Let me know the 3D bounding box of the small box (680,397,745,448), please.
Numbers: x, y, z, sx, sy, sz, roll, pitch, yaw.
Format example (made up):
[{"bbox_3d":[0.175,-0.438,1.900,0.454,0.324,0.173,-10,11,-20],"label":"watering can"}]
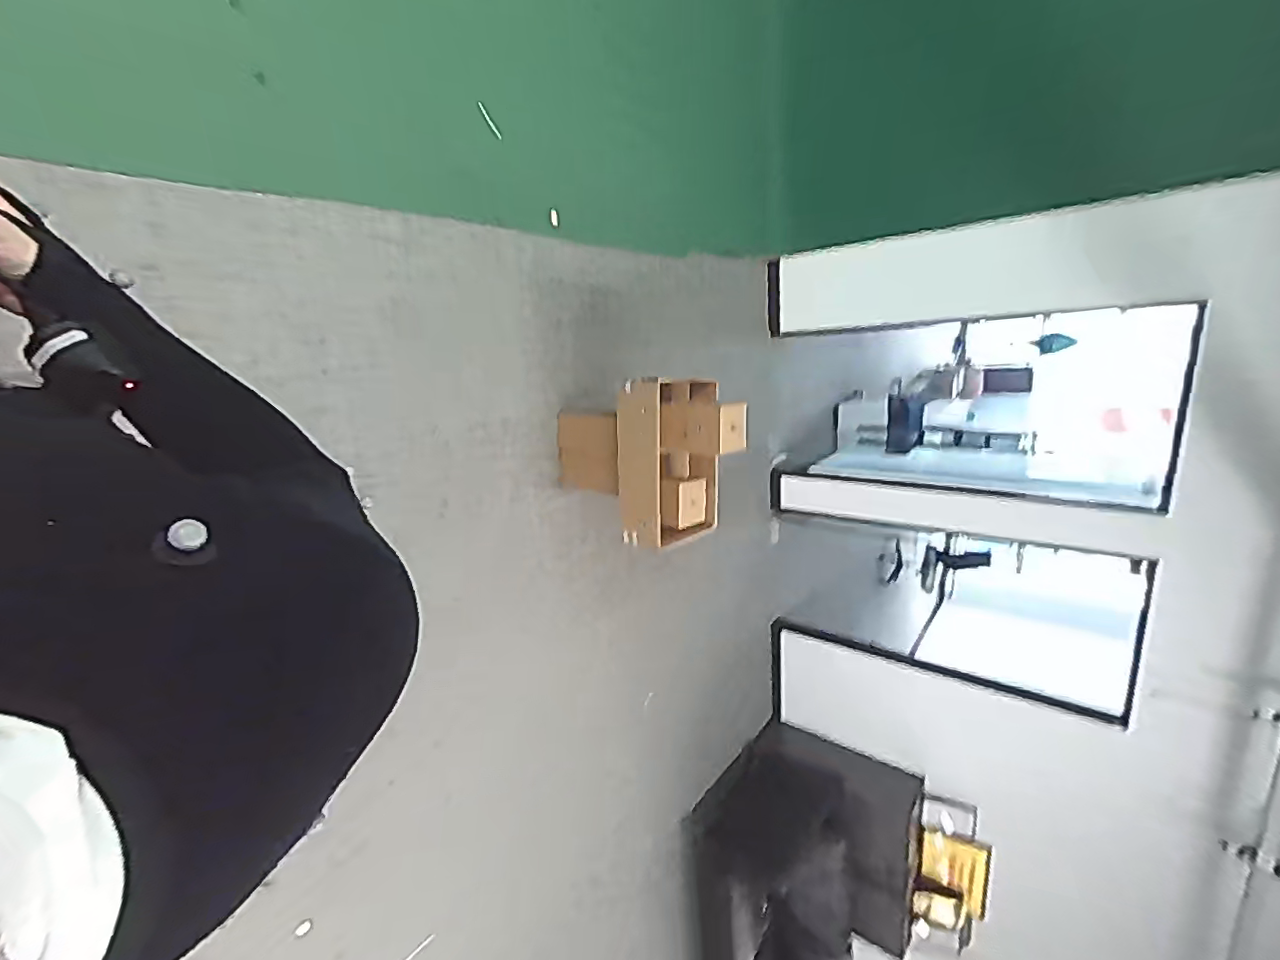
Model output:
[{"bbox_3d":[0.253,-0.206,1.908,0.179,0.176,0.168,-15,108,-48],"label":"small box"}]
